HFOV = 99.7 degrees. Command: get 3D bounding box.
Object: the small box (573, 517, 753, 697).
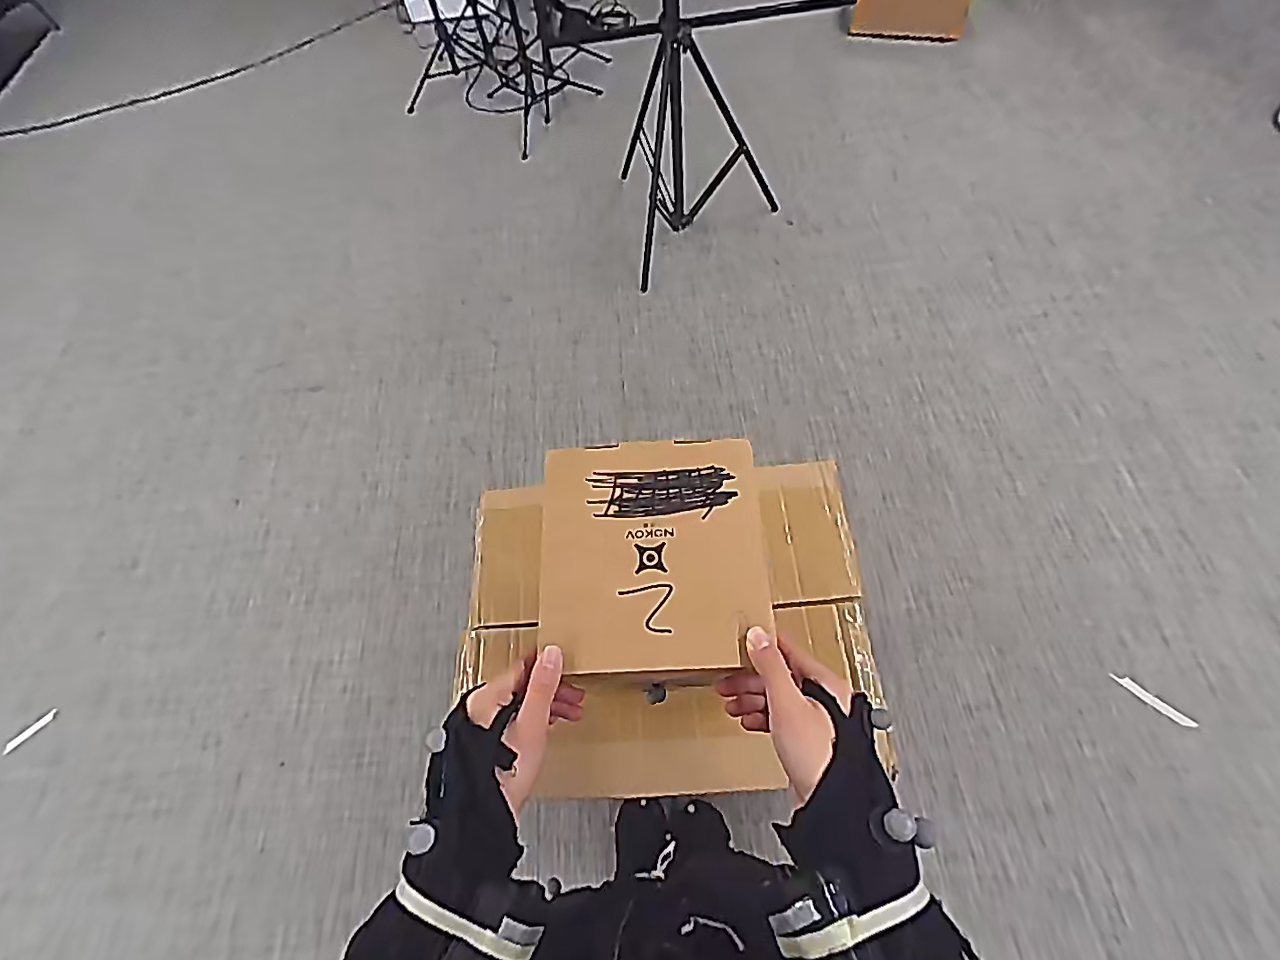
[{"bbox_3d":[0.027,0.153,0.622,0.179,0.176,0.168,-4,63,3],"label":"small box"}]
